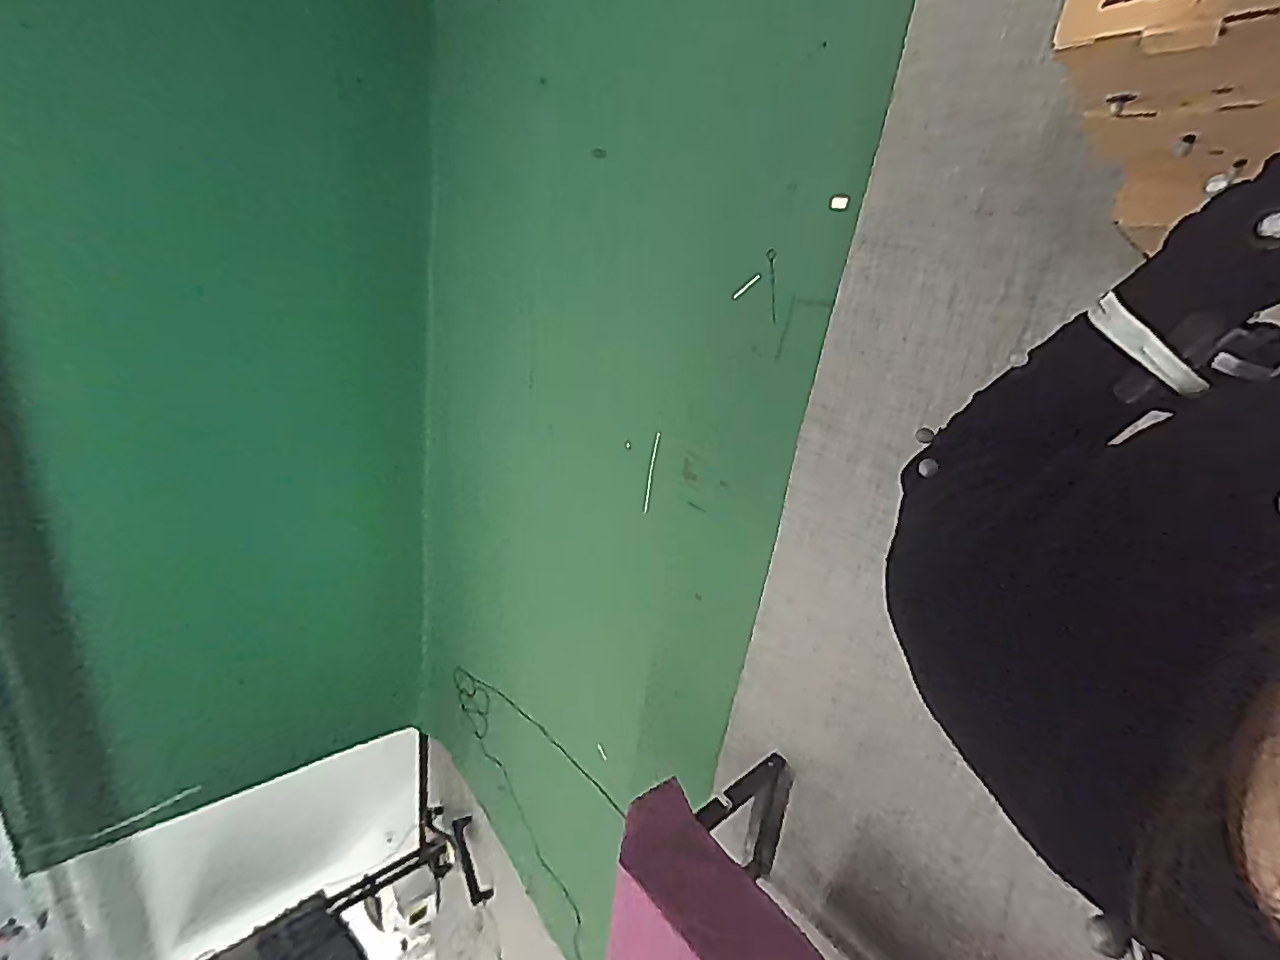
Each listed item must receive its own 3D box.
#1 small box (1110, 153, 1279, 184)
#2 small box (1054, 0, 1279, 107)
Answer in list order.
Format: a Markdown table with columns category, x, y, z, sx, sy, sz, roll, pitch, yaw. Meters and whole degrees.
| category | x | y | z | sx | sy | sz | roll | pitch | yaw |
| --- | --- | --- | --- | --- | --- | --- | --- | --- | --- |
| small box | 0.712 | -0.466 | 0.644 | 0.168 | 0.176 | 0.179 | 29 | 117 | 41 |
| small box | 0.471 | -0.421 | 0.426 | 0.168 | 0.176 | 0.179 | 26 | 115 | 41 |
